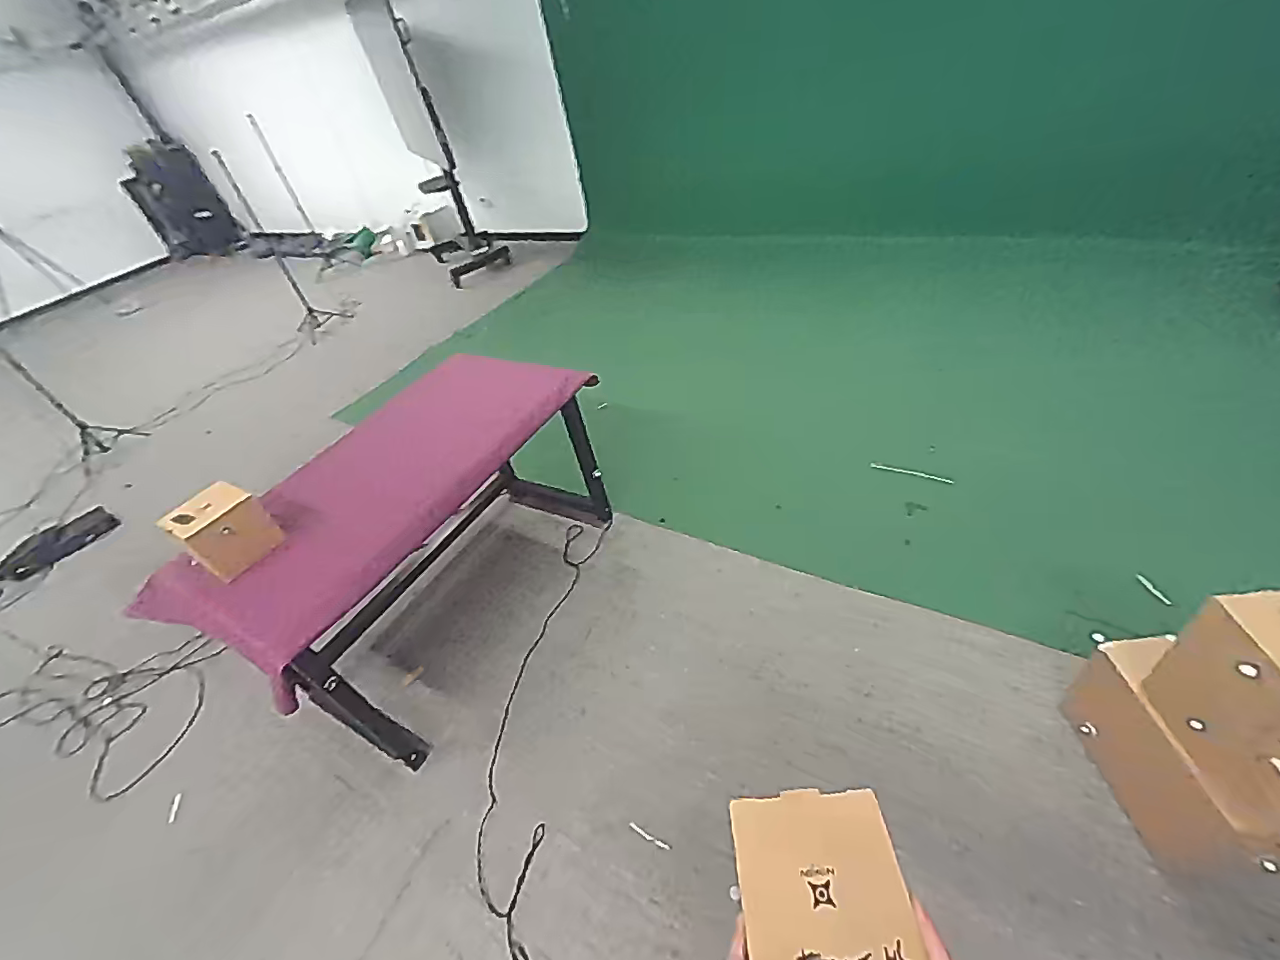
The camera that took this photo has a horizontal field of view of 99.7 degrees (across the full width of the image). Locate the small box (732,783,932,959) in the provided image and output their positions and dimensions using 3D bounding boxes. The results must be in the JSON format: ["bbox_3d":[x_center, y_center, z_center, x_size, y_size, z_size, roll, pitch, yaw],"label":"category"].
[{"bbox_3d":[0.197,0.466,0.596,0.168,0.176,0.179,-8,38,5],"label":"small box"}]

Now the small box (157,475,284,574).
[{"bbox_3d":[-1.097,0.119,1.427,0.168,0.176,0.179,16,48,28],"label":"small box"}]

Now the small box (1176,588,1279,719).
[{"bbox_3d":[1.152,0.317,0.979,0.168,0.176,0.179,-6,42,8],"label":"small box"}]

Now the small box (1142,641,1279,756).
[{"bbox_3d":[1.182,0.437,1.087,0.168,0.176,0.179,-8,41,7],"label":"small box"}]
